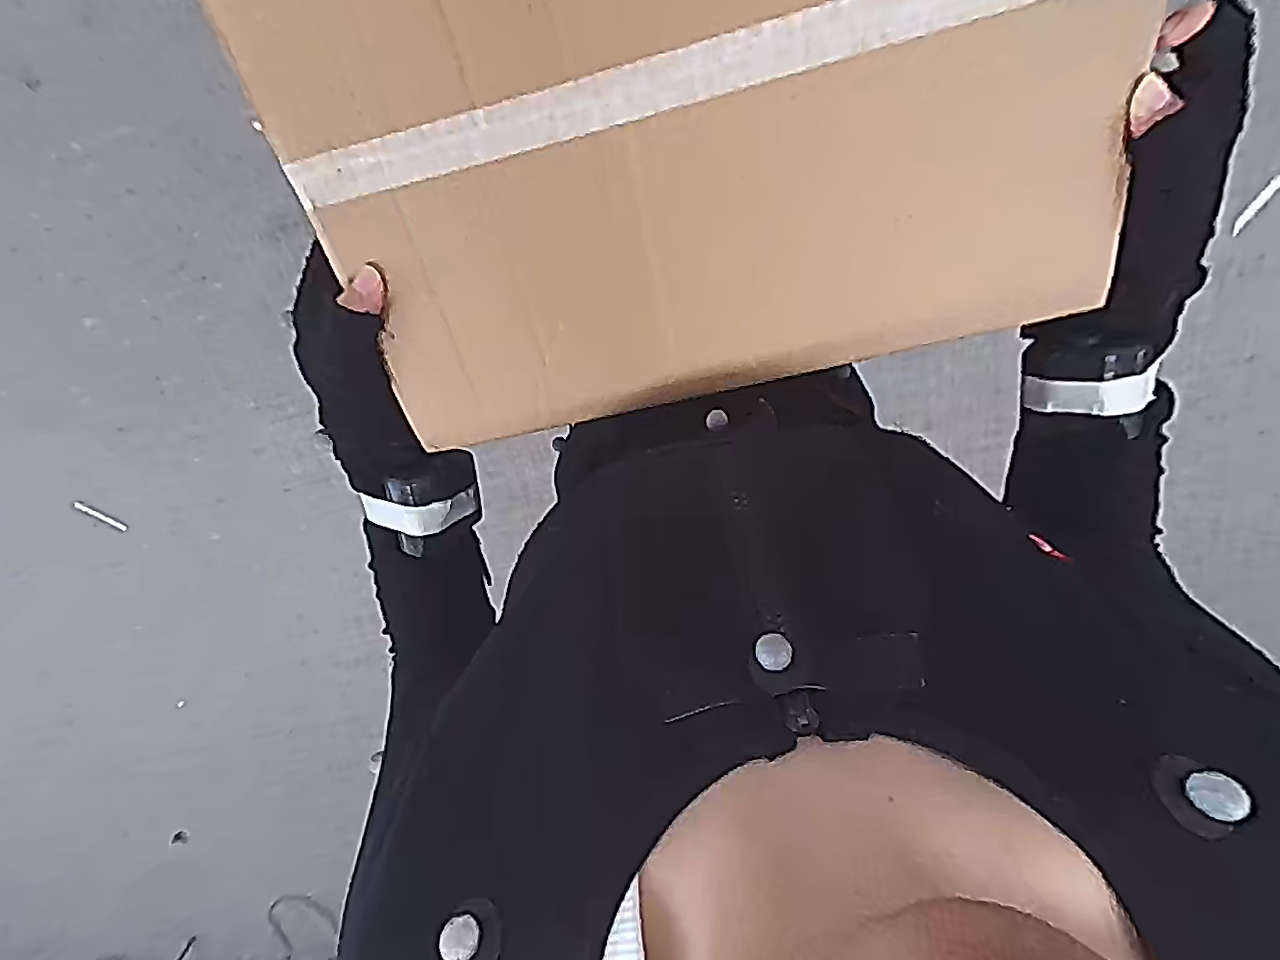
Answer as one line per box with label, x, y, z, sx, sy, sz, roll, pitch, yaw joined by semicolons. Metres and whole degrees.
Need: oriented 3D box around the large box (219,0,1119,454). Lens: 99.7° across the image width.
large box;0.024;-0.261;0.390;0.408;0.320;0.320;-11;119;6
